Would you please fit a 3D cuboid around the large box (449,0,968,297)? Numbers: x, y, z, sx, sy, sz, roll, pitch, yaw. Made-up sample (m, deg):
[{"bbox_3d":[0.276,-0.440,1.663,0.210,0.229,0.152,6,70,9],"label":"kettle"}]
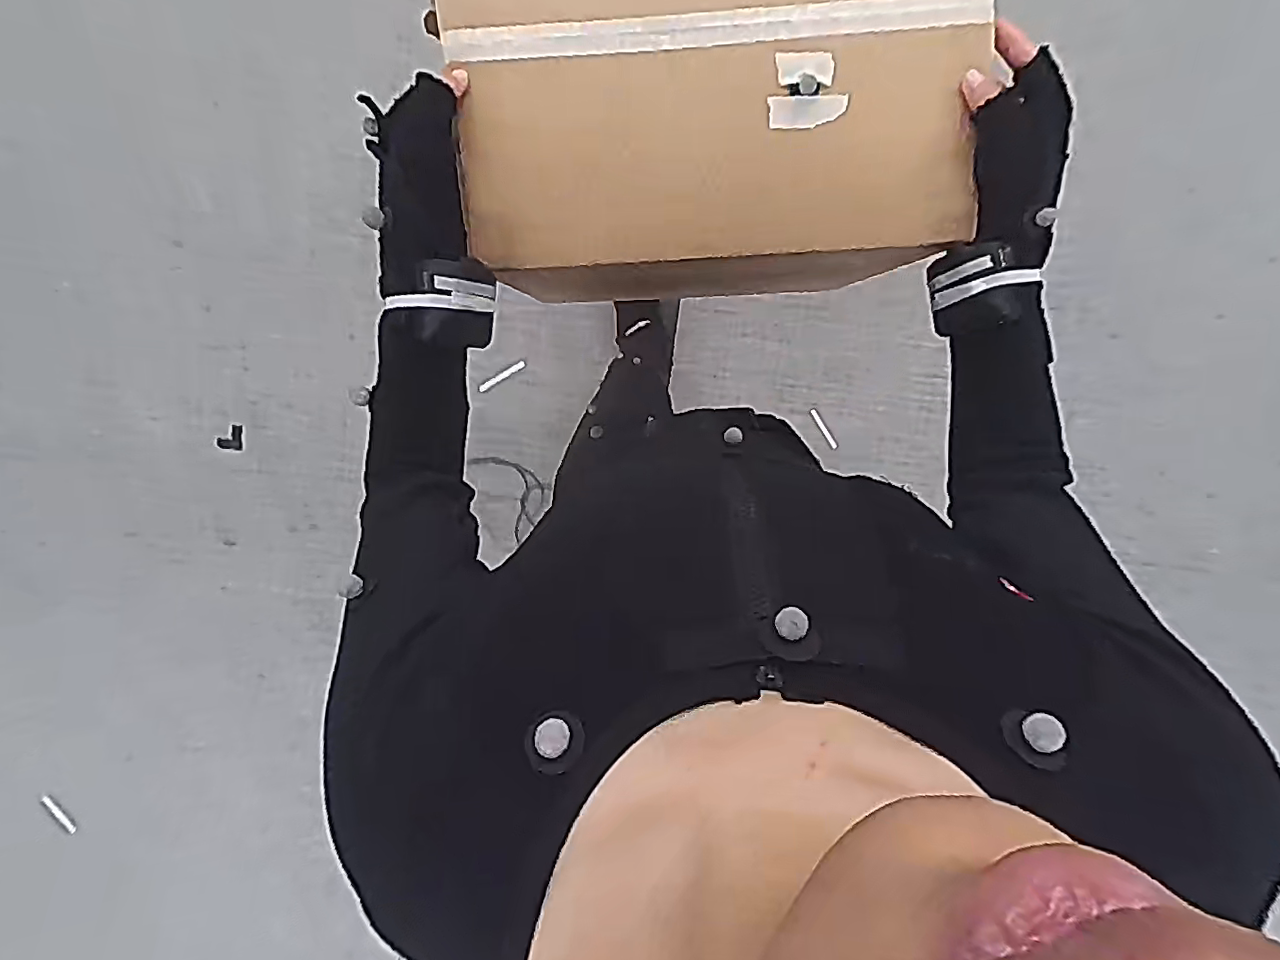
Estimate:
[{"bbox_3d":[0.052,-0.380,0.563,0.408,0.320,0.320,-3,104,1],"label":"large box"}]
